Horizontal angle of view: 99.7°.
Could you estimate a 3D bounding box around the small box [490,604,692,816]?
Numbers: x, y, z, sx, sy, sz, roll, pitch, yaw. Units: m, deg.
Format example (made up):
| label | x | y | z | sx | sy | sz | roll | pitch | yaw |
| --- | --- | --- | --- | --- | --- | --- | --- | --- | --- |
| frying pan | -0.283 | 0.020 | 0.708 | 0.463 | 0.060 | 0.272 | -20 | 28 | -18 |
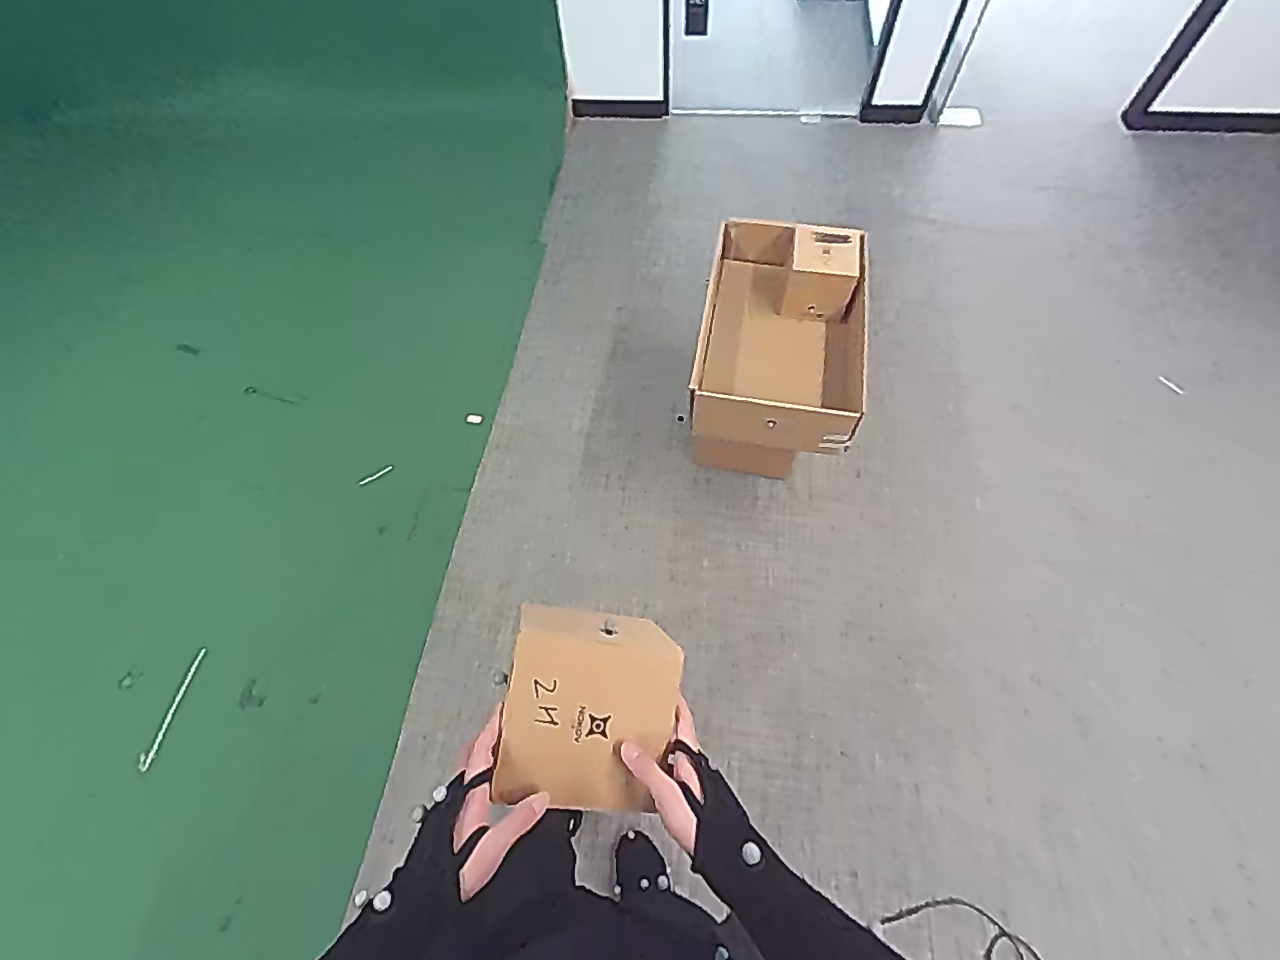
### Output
| label | x | y | z | sx | sy | sz | roll | pitch | yaw |
| --- | --- | --- | --- | --- | --- | --- | --- | --- | --- |
| small box | -0.060 | 0.246 | 0.615 | 0.179 | 0.176 | 0.168 | 12 | 85 | -9 |
